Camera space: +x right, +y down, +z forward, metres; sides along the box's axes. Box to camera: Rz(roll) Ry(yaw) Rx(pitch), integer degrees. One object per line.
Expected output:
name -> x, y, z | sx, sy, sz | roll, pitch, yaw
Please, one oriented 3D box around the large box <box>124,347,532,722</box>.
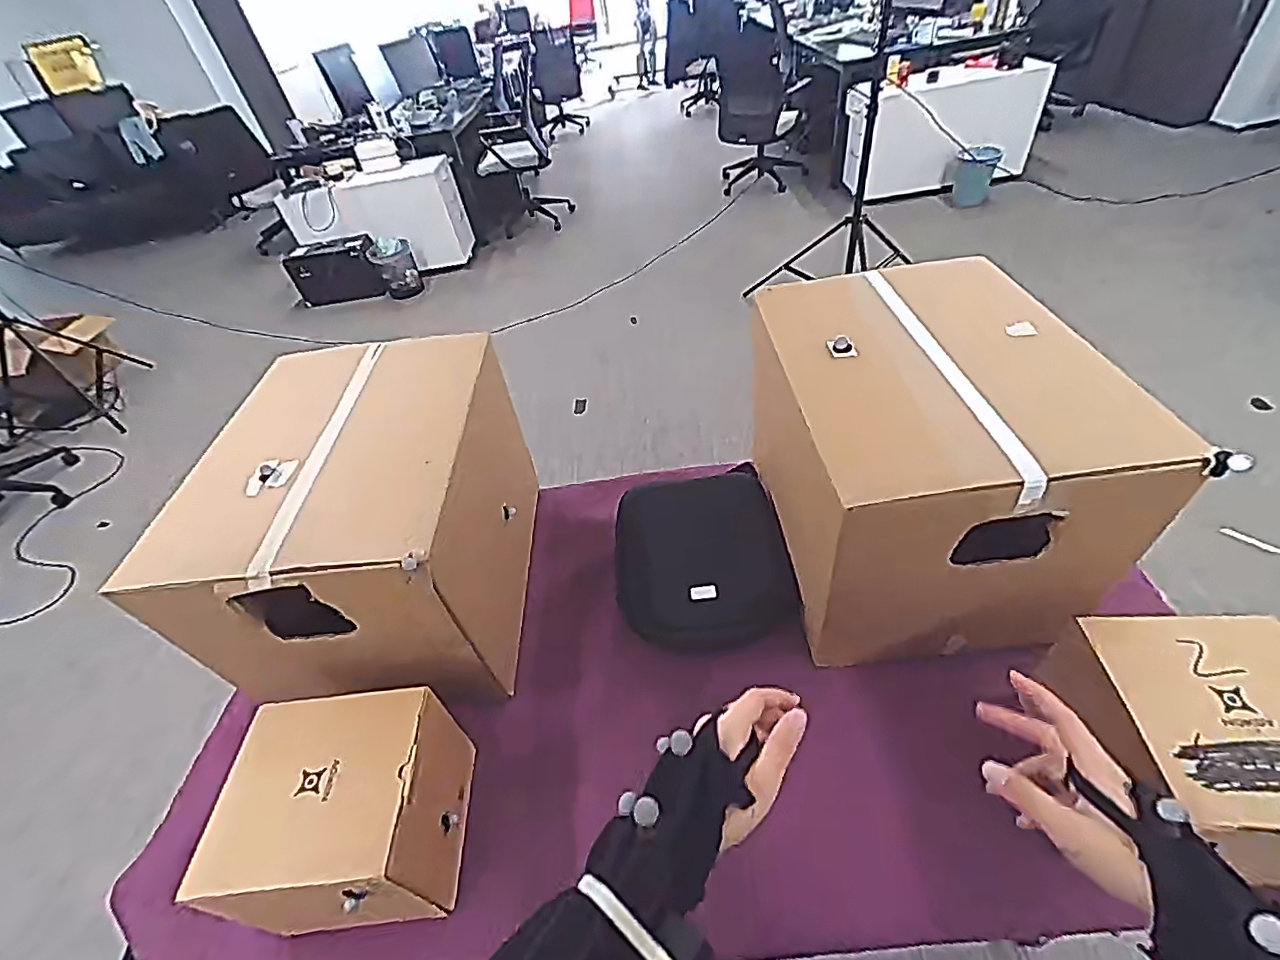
large box -> -0.343, 0.068, 0.753 | 0.320, 0.320, 0.408 | -7, 47, 2
